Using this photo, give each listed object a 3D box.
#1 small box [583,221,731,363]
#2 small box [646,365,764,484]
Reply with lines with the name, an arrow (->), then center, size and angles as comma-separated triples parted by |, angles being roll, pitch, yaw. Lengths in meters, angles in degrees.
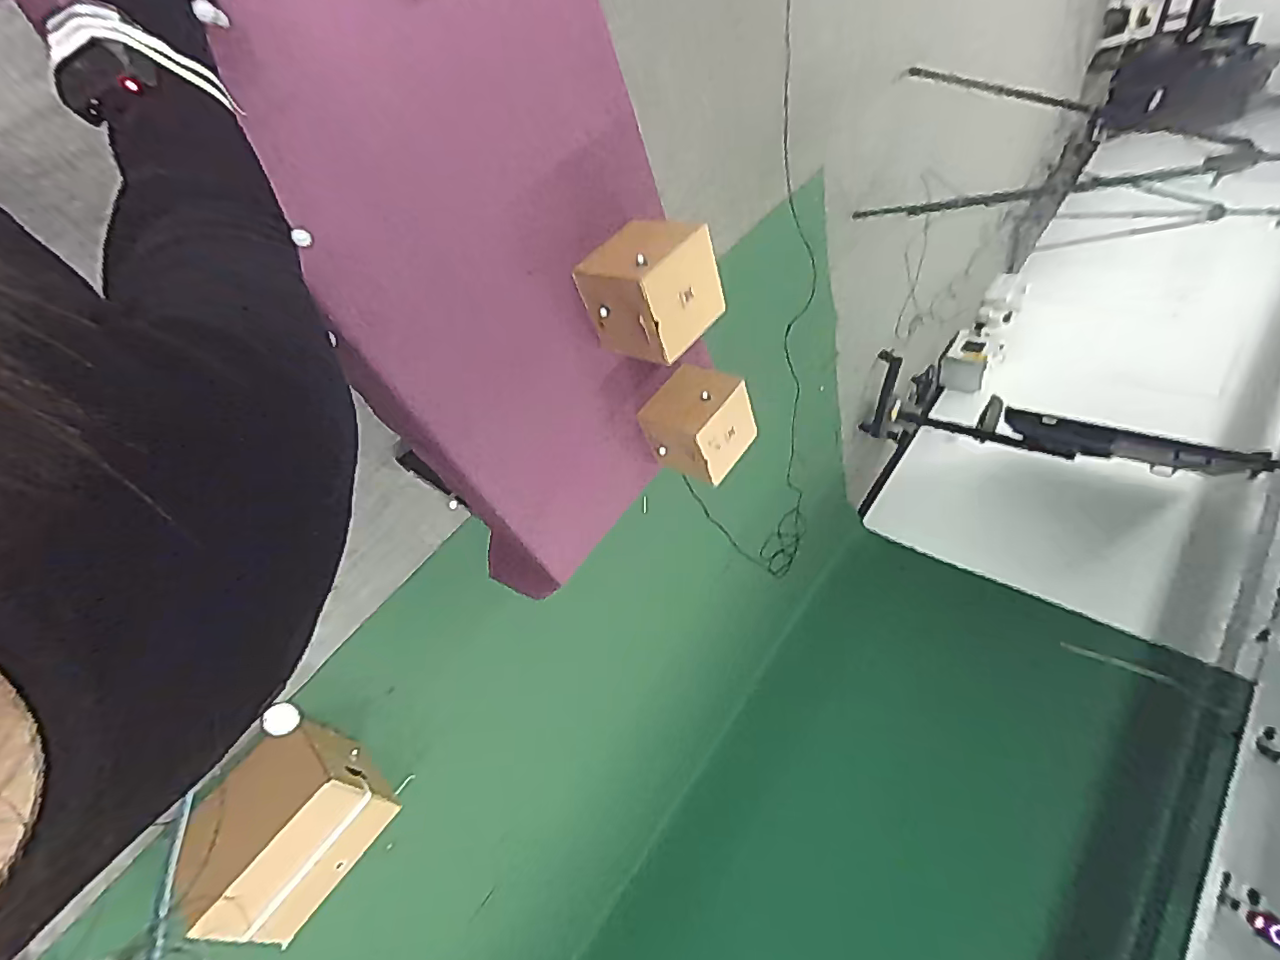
small box -> 0.032, -0.338, 0.953 | 0.179, 0.176, 0.168 | -47, 138, -20
small box -> 0.142, -0.128, 1.184 | 0.179, 0.176, 0.168 | -48, 138, -19
